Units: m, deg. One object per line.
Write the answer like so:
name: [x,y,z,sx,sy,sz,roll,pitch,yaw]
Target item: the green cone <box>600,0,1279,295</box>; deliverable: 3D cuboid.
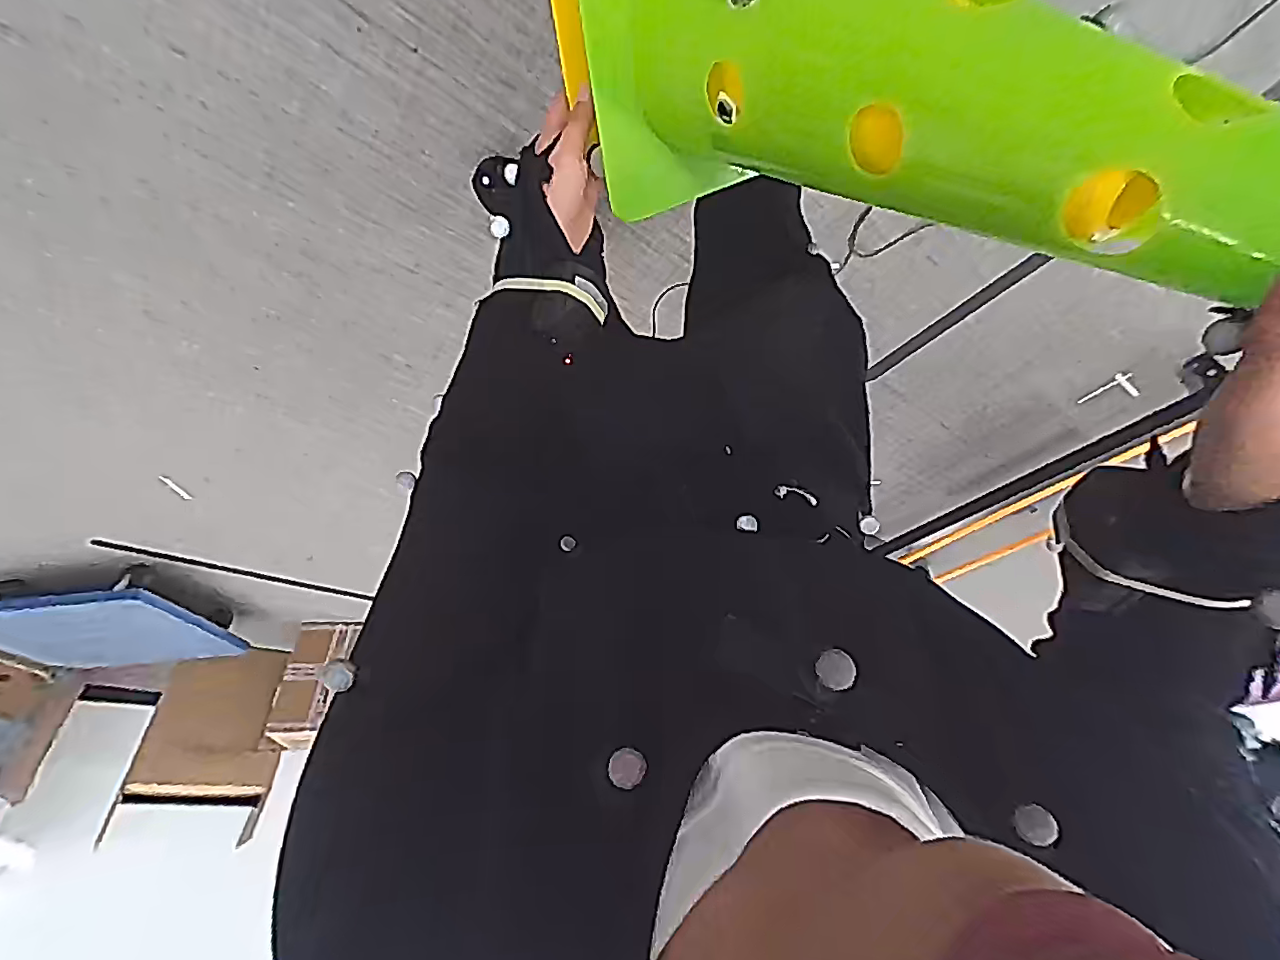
green cone: [0.147,-0.185,0.250,0.202,0.368,0.200,-26,143,-11]
